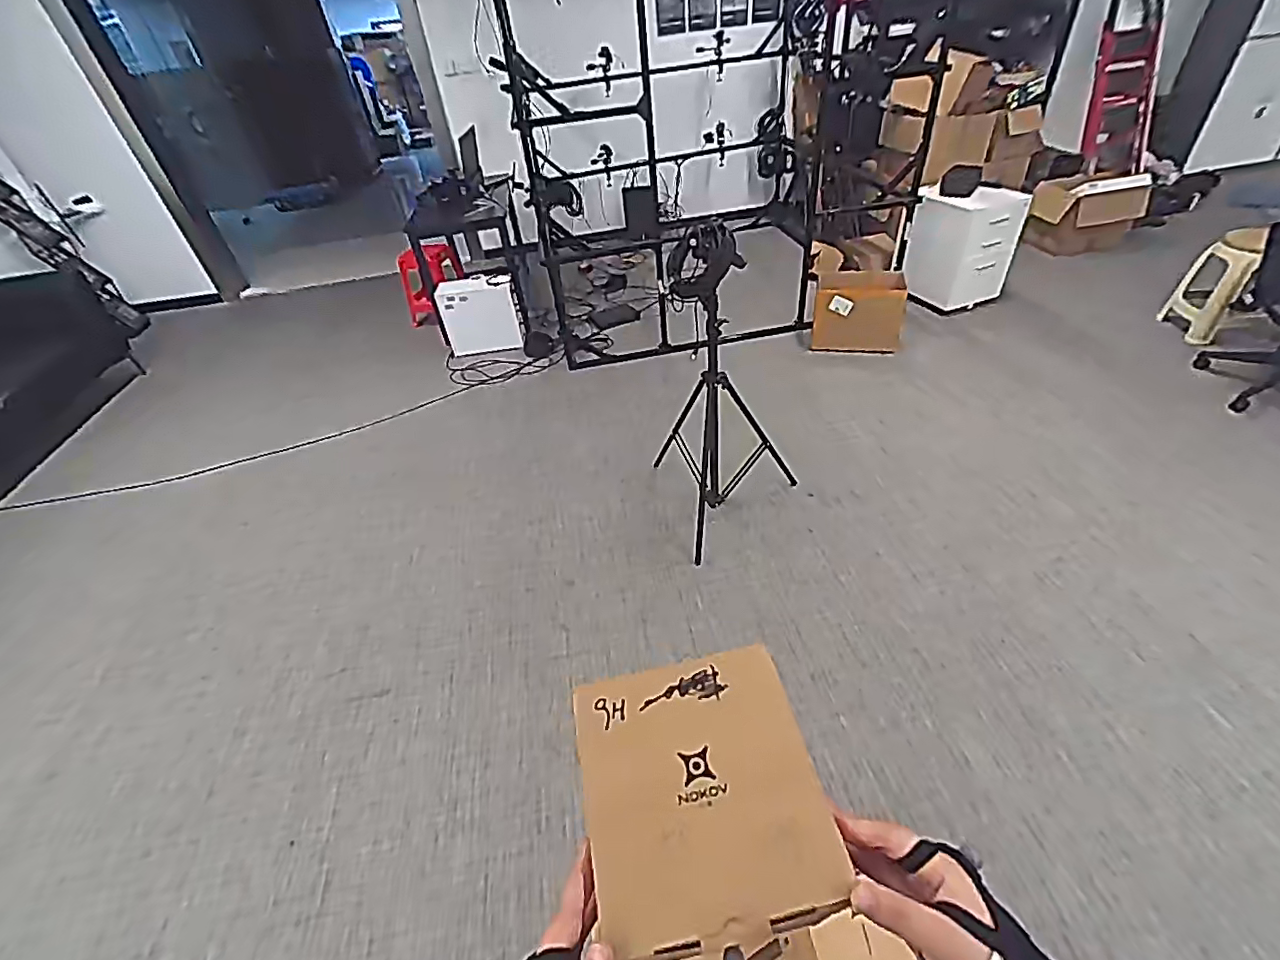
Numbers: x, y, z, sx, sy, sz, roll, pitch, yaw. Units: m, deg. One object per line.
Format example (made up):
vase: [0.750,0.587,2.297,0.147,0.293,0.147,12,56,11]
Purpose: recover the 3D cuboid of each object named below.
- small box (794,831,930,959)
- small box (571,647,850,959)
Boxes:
small box: [0.346,0.728,0.908,0.168,0.176,0.179,-9,40,-2]
small box: [0.047,0.268,0.447,0.168,0.176,0.179,-12,49,-4]
